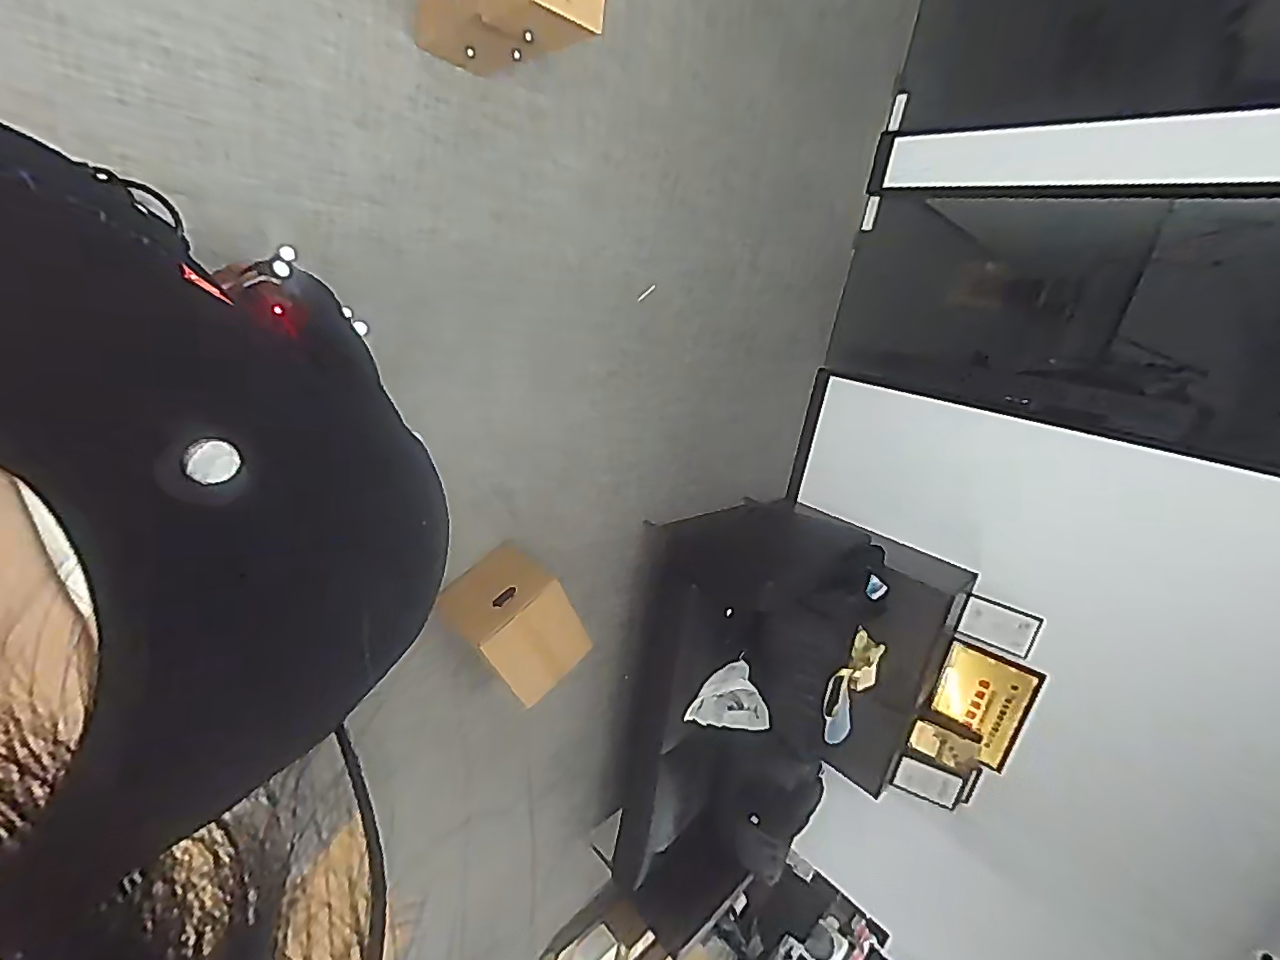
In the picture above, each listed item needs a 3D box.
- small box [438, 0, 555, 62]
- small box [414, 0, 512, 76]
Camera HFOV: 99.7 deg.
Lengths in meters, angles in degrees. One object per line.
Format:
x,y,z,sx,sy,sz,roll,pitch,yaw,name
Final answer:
-0.295,-1.006,1.125,0.179,0.176,0.168,-8,114,-44,small box
-0.400,-1.066,1.234,0.168,0.176,0.179,-8,115,-45,small box
